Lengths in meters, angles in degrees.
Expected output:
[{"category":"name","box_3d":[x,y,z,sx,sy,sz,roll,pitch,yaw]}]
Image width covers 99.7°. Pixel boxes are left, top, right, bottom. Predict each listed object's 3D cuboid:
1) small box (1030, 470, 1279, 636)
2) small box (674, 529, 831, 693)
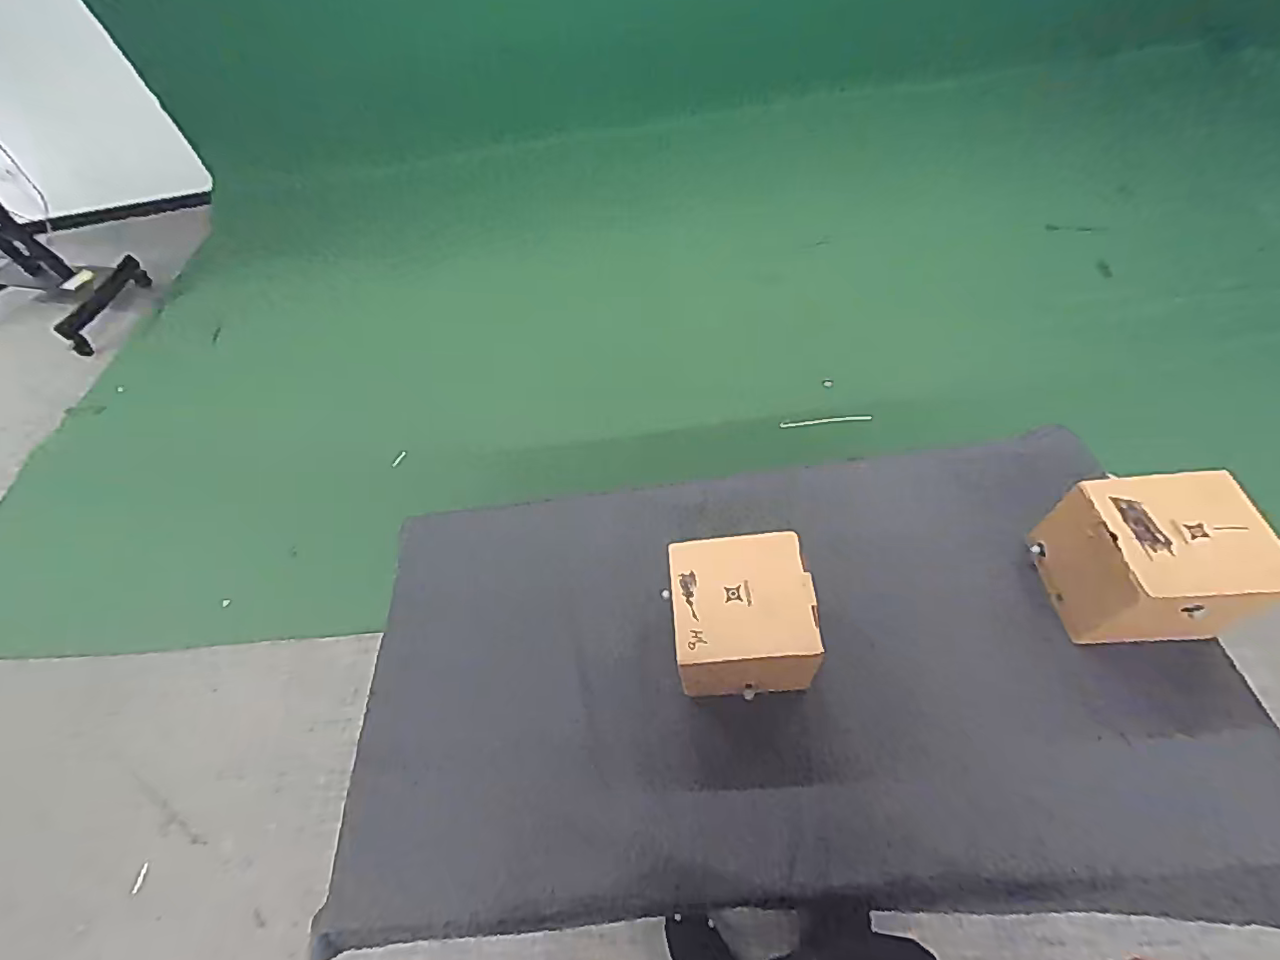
[{"category":"small box","box_3d":[0.672,0.104,0.731,0.179,0.176,0.168,-4,55,3]},{"category":"small box","box_3d":[0.139,0.183,0.738,0.179,0.176,0.168,-5,54,2]}]
